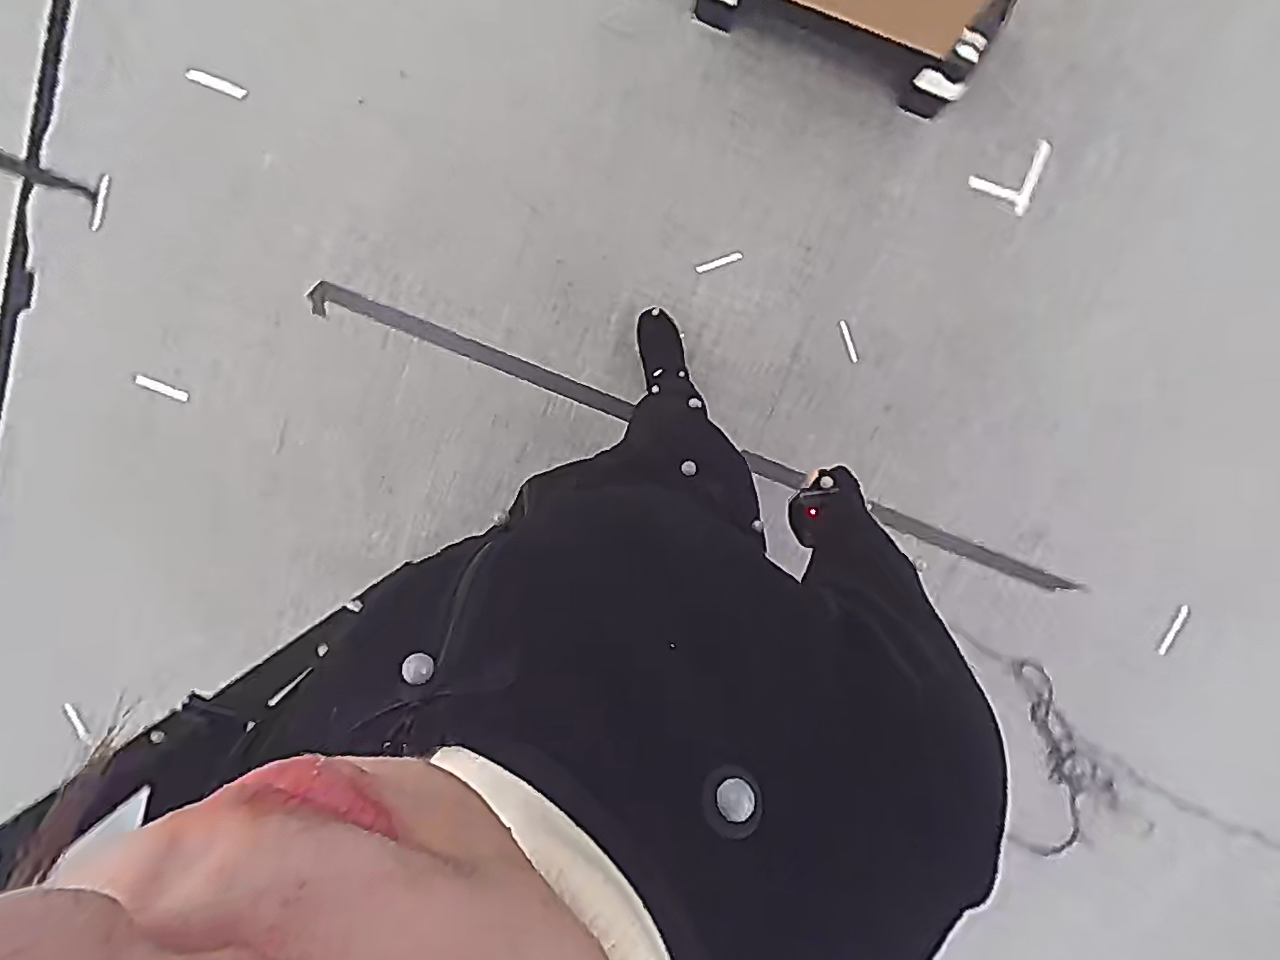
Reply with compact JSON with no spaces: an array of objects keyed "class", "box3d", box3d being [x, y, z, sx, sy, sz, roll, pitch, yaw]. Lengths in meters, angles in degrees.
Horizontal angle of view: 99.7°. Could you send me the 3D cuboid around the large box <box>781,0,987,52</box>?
[{"class":"large box","box3d":[0.493,-1.077,0.970,0.408,0.320,0.320,20,98,0]}]
